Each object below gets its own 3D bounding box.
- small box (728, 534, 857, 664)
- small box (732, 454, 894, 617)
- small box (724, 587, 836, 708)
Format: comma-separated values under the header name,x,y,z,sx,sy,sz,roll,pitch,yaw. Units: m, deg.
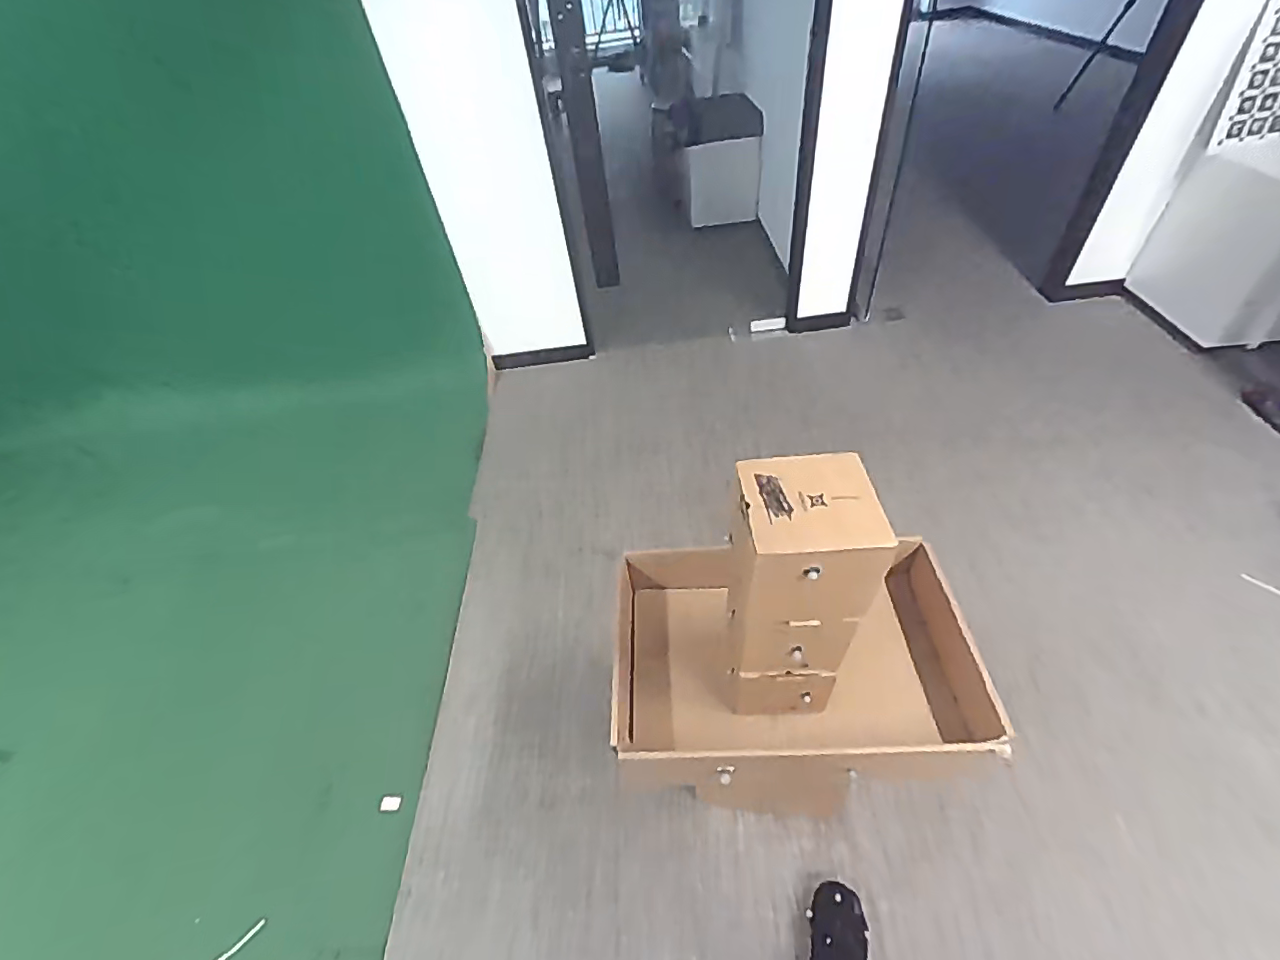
name,x,y,z,sx,sy,sz,roll,pitch,yaw
small box,0.239,0.194,0.894,0.168,0.176,0.179,-3,47,3
small box,0.228,0.082,0.772,0.179,0.176,0.168,-4,47,1
small box,0.250,0.312,1.006,0.168,0.176,0.179,-3,45,2
